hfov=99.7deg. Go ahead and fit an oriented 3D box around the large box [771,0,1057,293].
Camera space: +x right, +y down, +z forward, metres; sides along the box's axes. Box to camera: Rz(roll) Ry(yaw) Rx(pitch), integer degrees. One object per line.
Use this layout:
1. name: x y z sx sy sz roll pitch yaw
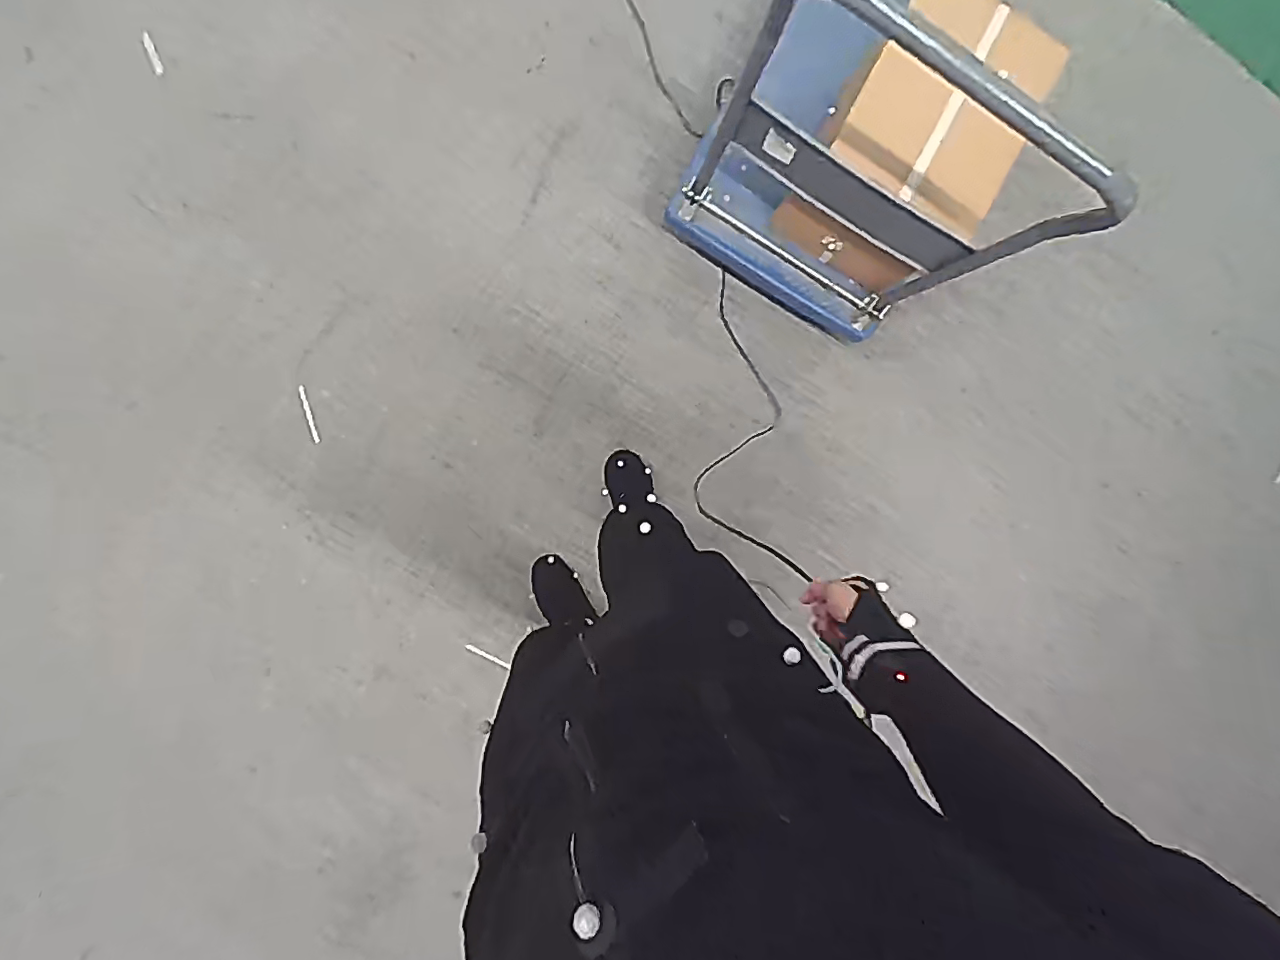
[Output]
1. large box: 0.532 -0.675 1.122 0.320 0.320 0.408 28 88 -7
